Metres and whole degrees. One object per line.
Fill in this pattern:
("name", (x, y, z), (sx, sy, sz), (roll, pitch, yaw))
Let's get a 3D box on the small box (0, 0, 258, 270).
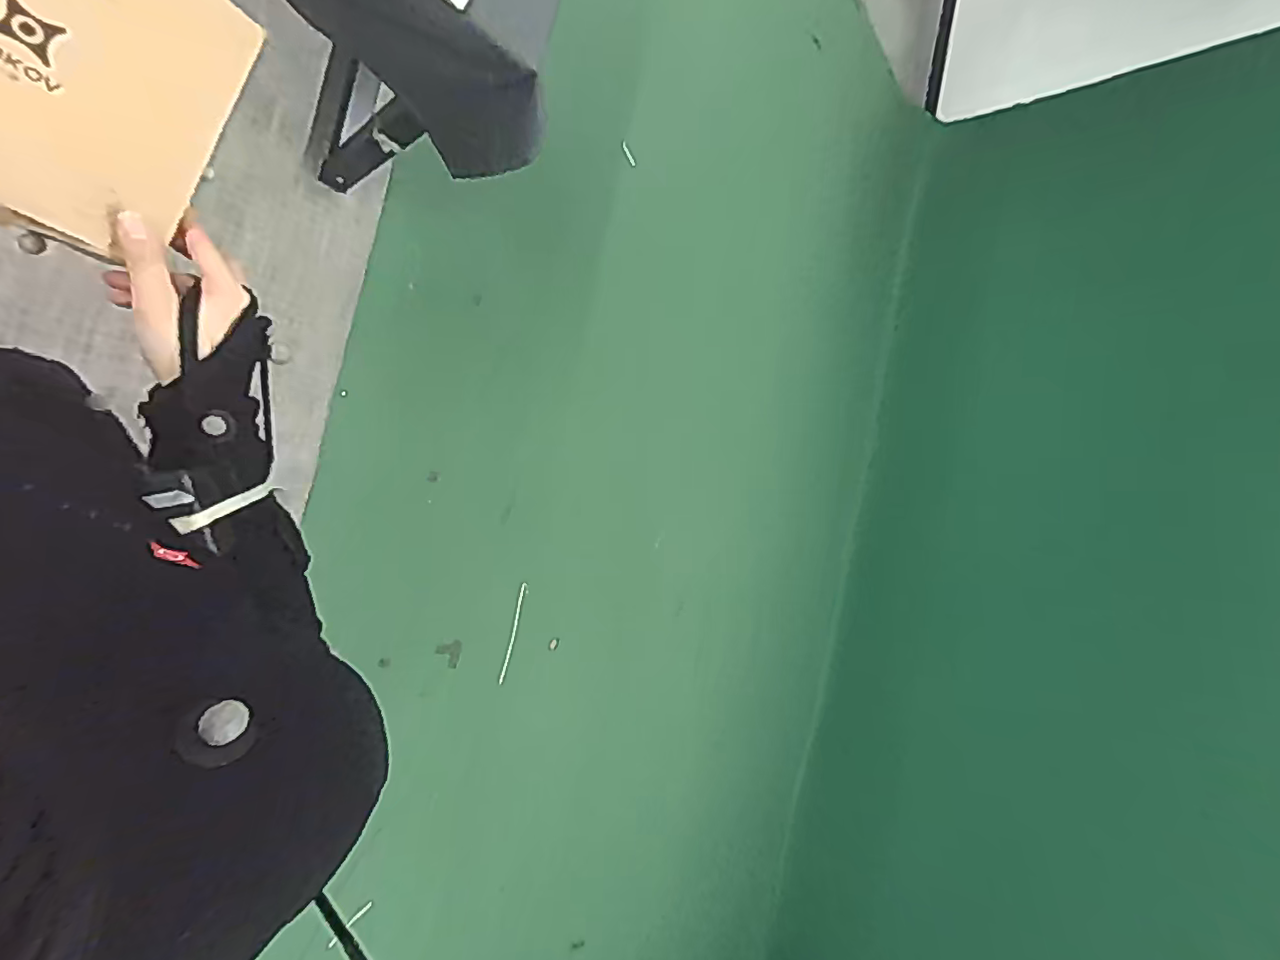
("small box", (-0.377, -0.251, 0.323), (0.168, 0.176, 0.179), (25, 86, -54))
